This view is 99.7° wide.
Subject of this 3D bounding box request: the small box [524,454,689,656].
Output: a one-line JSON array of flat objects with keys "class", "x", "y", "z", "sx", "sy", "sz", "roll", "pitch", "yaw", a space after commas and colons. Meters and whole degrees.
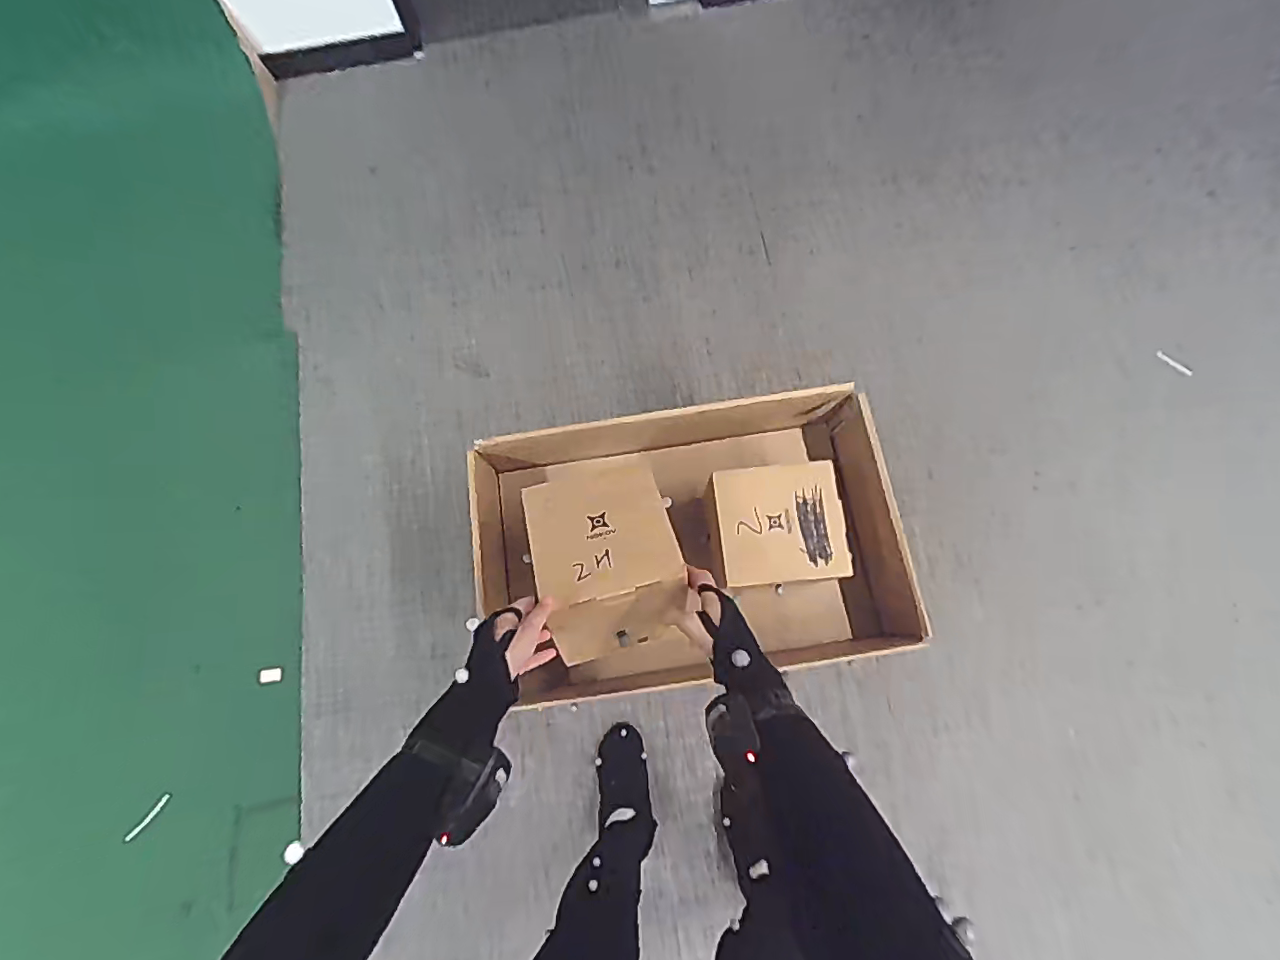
[{"class": "small box", "x": -0.043, "y": 0.098, "z": 0.689, "sx": 0.168, "sy": 0.176, "sz": 0.179, "roll": -14, "pitch": 54, "yaw": -6}]
